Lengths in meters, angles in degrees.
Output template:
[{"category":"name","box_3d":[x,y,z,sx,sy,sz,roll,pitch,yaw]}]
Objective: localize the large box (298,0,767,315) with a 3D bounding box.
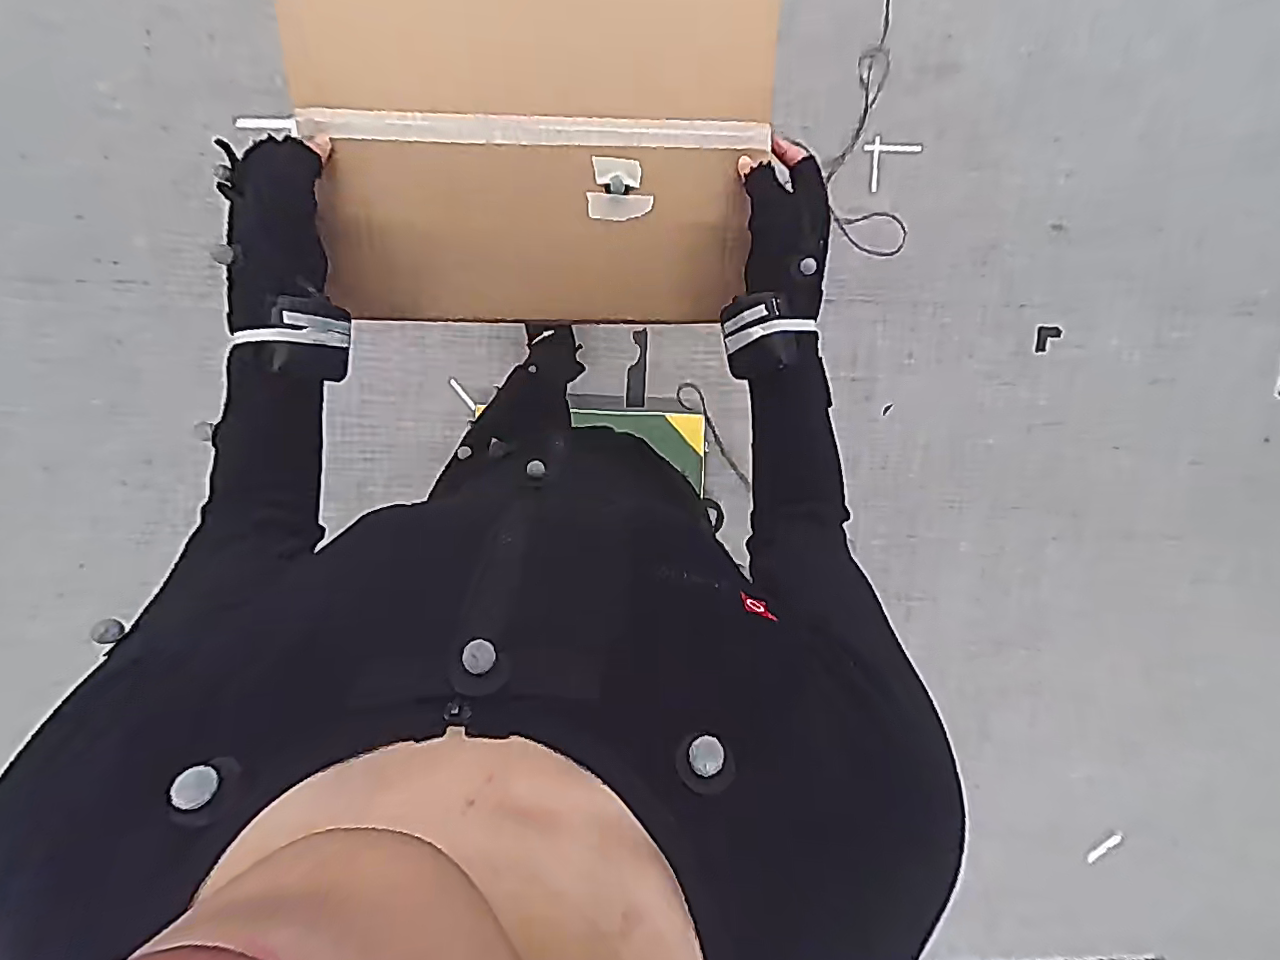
[{"category":"large box","box_3d":[-0.099,-0.360,0.627,0.408,0.320,0.320,-2,106,-5]}]
